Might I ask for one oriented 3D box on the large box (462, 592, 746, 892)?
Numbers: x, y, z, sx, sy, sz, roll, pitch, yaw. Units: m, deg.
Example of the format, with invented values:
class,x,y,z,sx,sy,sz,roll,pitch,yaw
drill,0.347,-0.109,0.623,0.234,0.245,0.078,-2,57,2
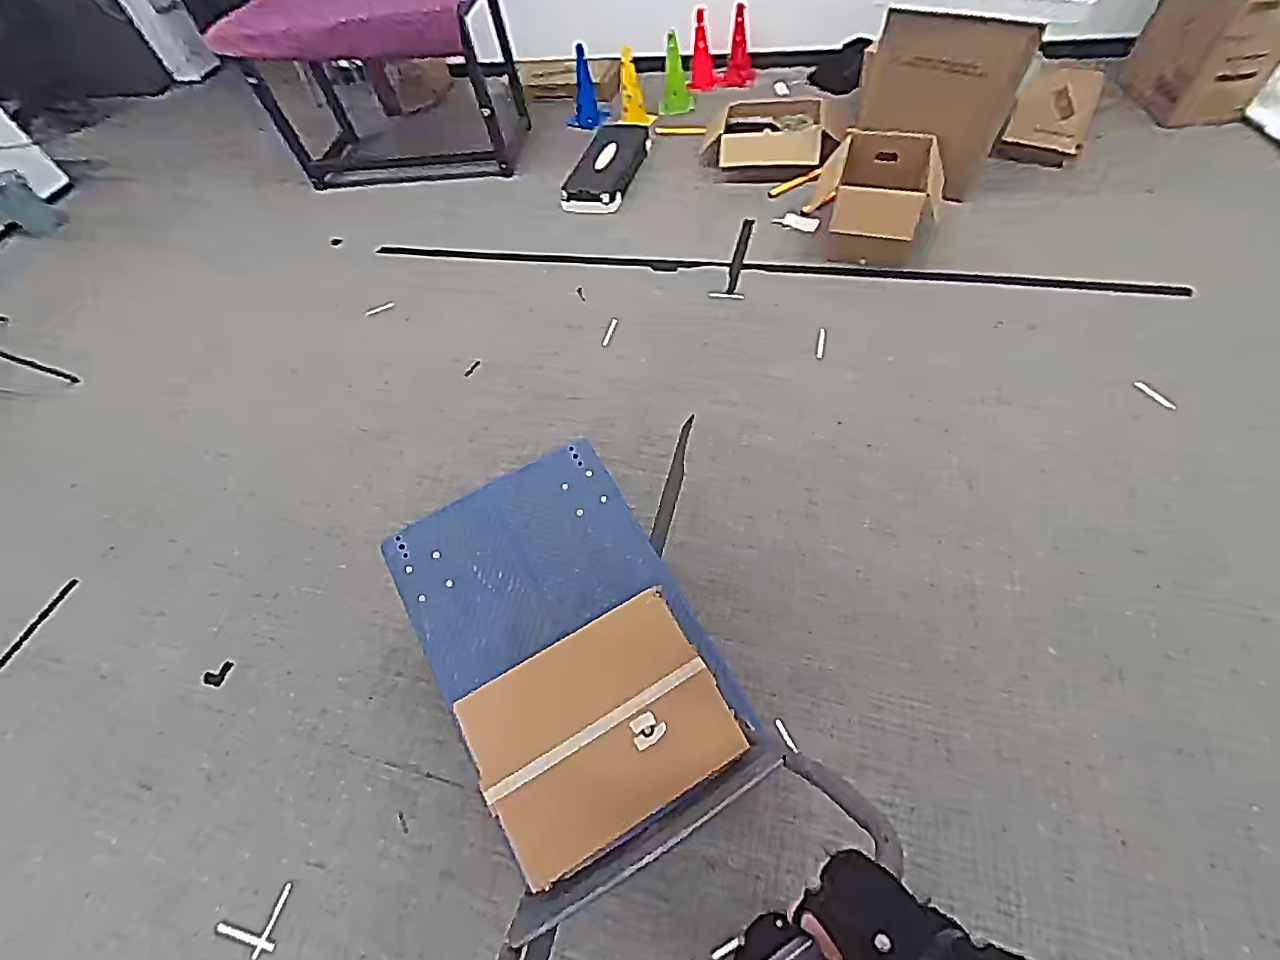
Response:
class,x,y,z,sx,sy,sz,roll,pitch,yaw
large box,-0.066,0.480,1.058,0.408,0.320,0.320,-29,72,-12
